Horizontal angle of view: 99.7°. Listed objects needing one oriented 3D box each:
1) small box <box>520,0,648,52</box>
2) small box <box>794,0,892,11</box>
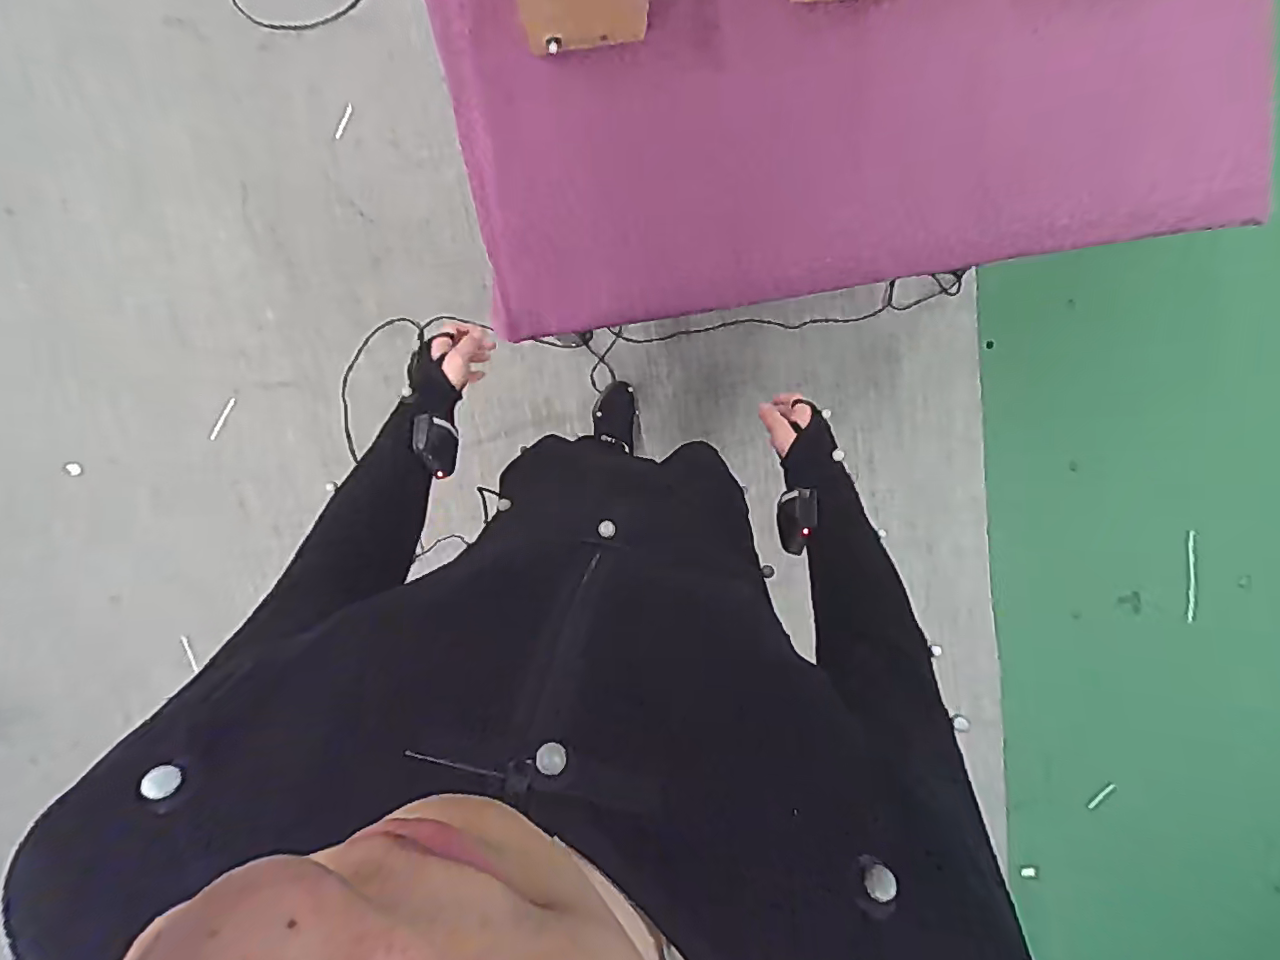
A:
[{"bbox_3d":[-0.079,-0.683,0.684,0.168,0.176,0.179,-9,100,-1],"label":"small box"},{"bbox_3d":[0.290,-0.757,0.690,0.168,0.176,0.179,-7,101,0],"label":"small box"}]
